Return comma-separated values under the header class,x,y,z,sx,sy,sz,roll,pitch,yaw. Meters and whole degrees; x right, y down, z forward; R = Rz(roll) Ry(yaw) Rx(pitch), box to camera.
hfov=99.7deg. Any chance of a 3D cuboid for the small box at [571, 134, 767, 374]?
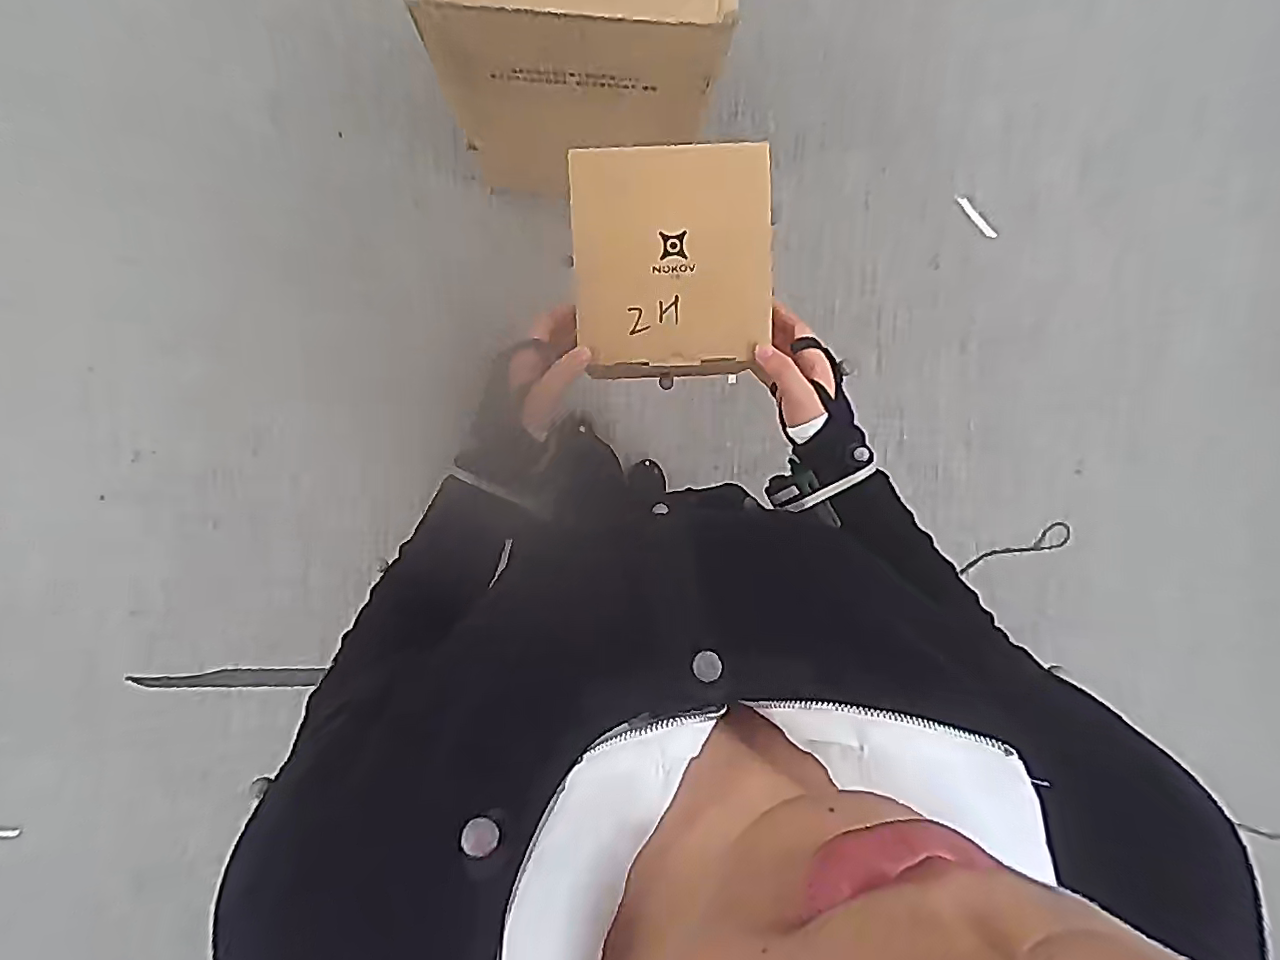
class,x,y,z,sx,sy,sz,roll,pitch,yaw
small box,0.023,-0.204,0.532,0.168,0.176,0.179,-2,95,0
